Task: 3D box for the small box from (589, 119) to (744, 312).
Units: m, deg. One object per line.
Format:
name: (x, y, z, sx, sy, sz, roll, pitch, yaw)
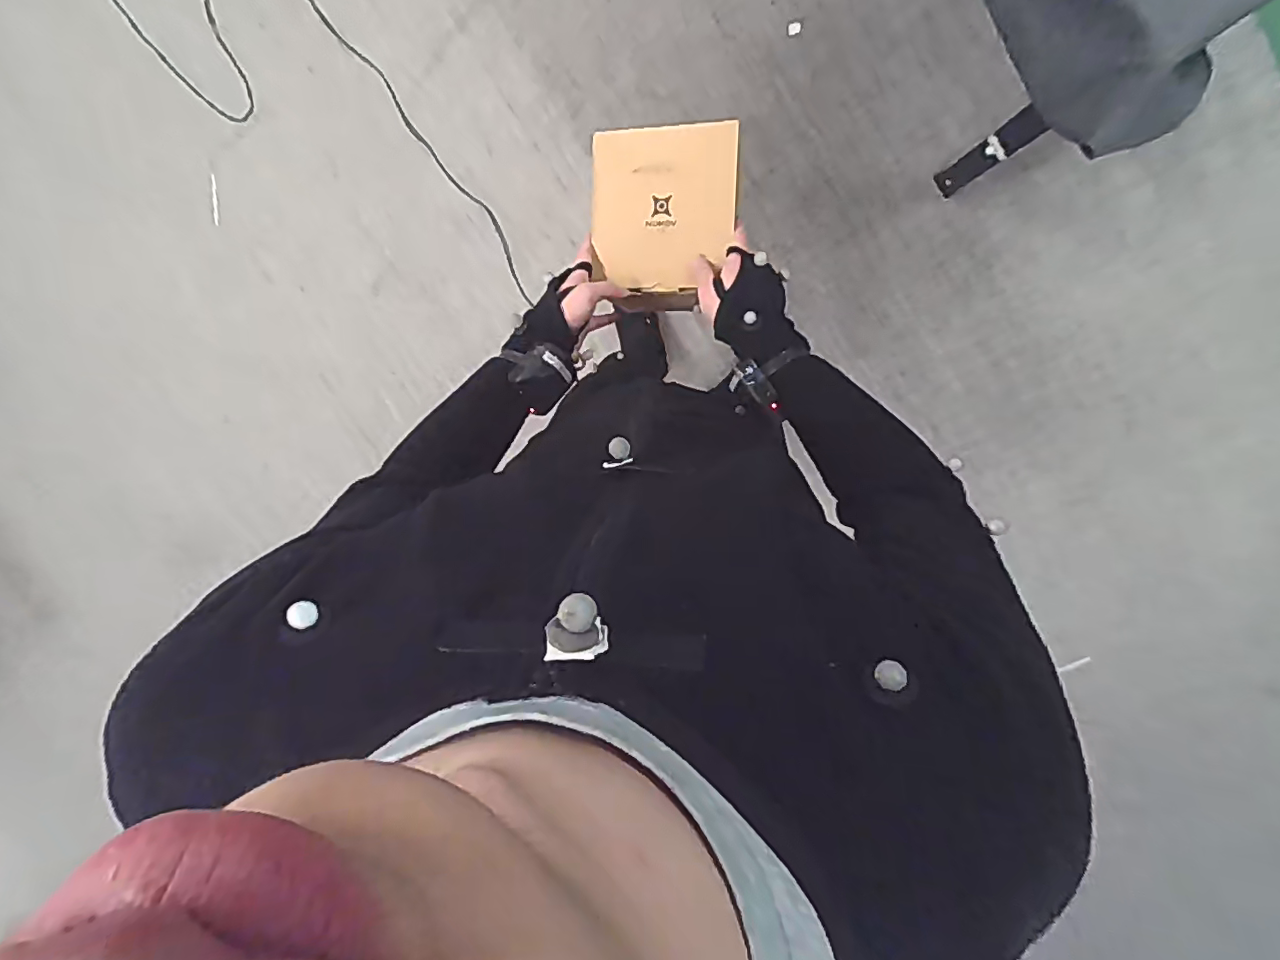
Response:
small box: (0.040, -0.308, 0.670, 0.168, 0.176, 0.179, 3, 98, 12)
